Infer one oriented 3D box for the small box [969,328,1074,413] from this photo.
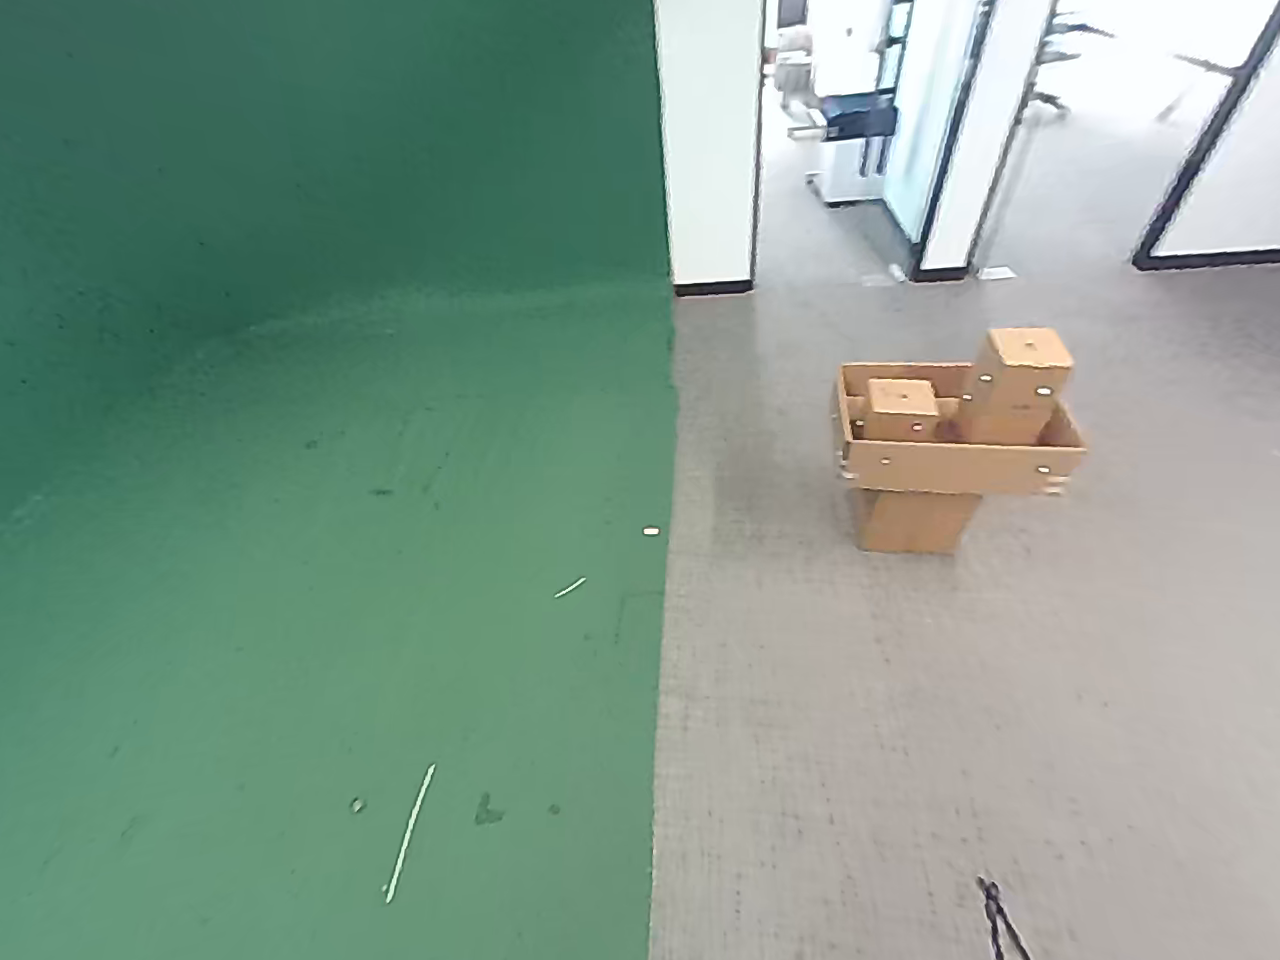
[{"bbox_3d":[1.043,-0.301,1.496,0.168,0.176,0.179,4,47,10],"label":"small box"}]
